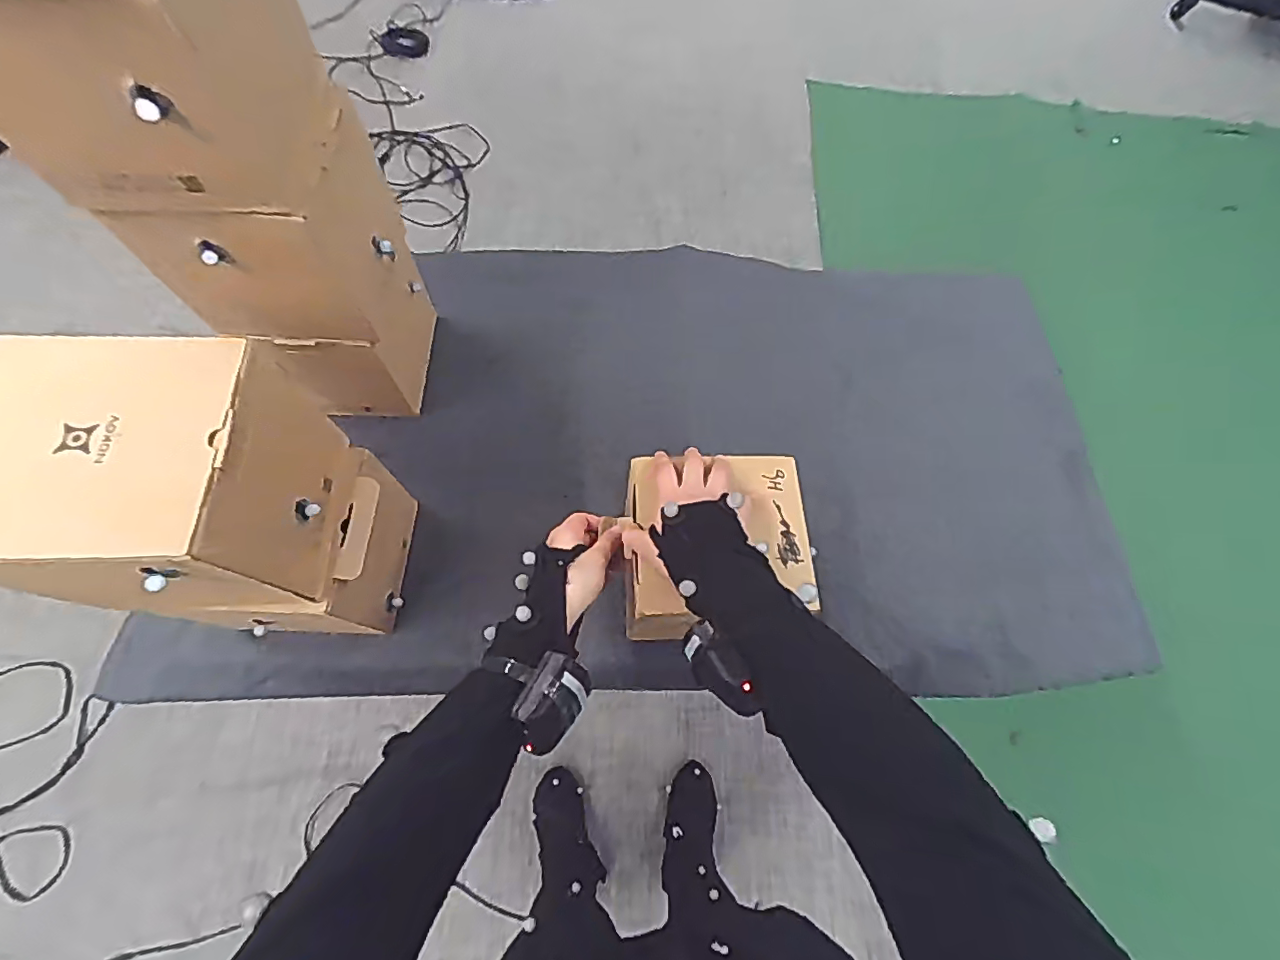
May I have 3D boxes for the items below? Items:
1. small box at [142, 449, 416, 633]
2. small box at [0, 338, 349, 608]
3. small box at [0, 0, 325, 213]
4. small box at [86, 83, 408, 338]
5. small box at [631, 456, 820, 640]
[{"bbox_3d":[-0.362,0.070,0.581,0.179,0.176,0.168,3,68,-2],"label":"small box"},{"bbox_3d":[-0.367,0.006,0.431,0.179,0.176,0.168,-1,68,-5],"label":"small box"},{"bbox_3d":[-0.354,-0.318,0.384,0.168,0.176,0.179,-1,67,-6],"label":"small box"},{"bbox_3d":[-0.357,-0.258,0.535,0.179,0.176,0.168,2,69,-4],"label":"small box"},{"bbox_3d":[0.078,0.083,0.606,0.179,0.176,0.168,-1,66,-4],"label":"small box"}]
